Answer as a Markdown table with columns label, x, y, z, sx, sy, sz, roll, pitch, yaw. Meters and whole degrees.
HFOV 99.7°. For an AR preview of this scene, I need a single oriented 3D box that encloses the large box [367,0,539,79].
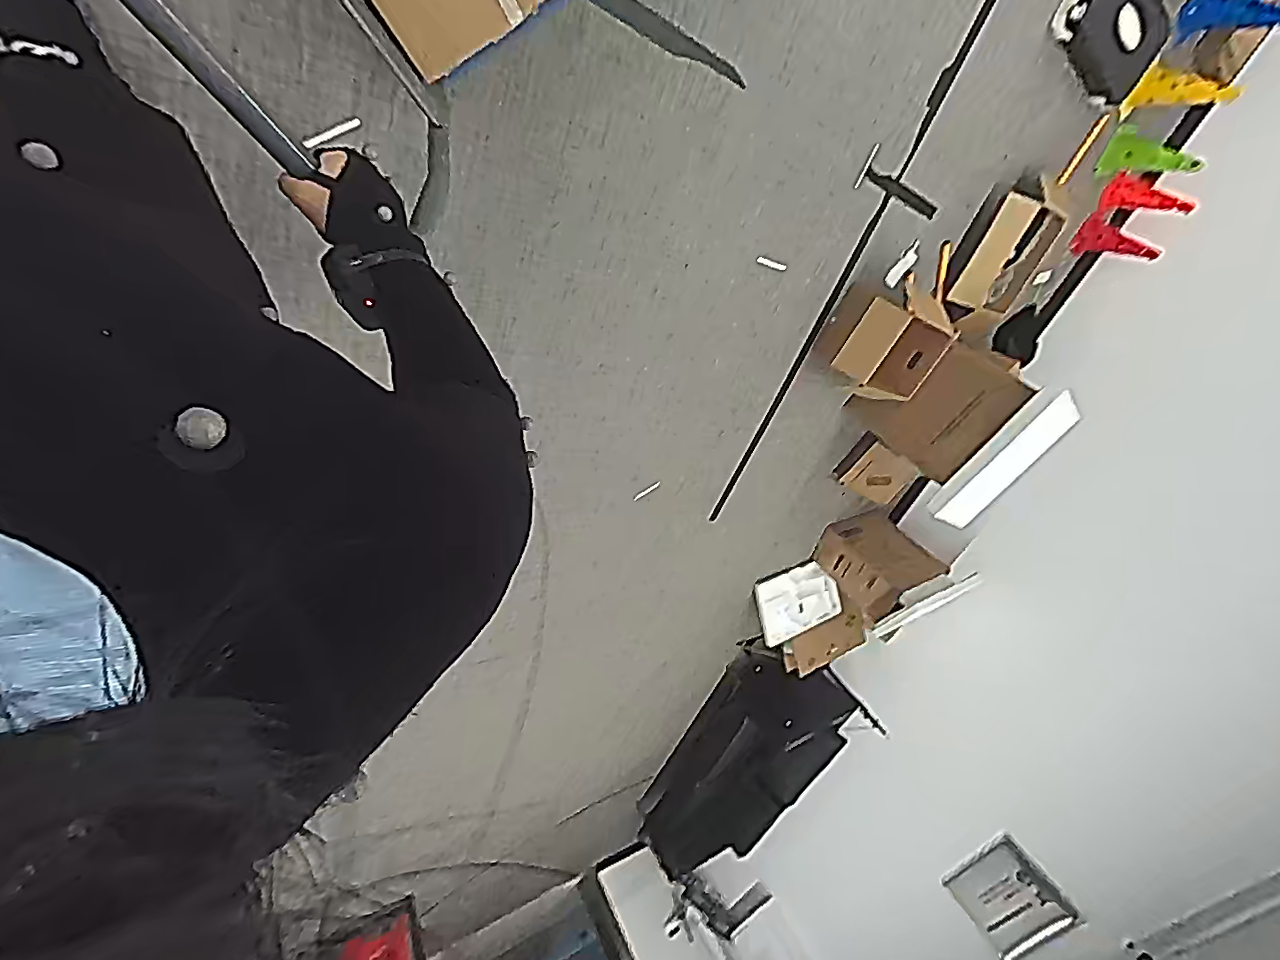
| label | x | y | z | sx | sy | sz | roll | pitch | yaw |
| --- | --- | --- | --- | --- | --- | --- | --- | --- | --- |
| large box | -0.305 | -0.859 | 0.698 | 0.320 | 0.320 | 0.408 | -27 | 144 | 10 |
